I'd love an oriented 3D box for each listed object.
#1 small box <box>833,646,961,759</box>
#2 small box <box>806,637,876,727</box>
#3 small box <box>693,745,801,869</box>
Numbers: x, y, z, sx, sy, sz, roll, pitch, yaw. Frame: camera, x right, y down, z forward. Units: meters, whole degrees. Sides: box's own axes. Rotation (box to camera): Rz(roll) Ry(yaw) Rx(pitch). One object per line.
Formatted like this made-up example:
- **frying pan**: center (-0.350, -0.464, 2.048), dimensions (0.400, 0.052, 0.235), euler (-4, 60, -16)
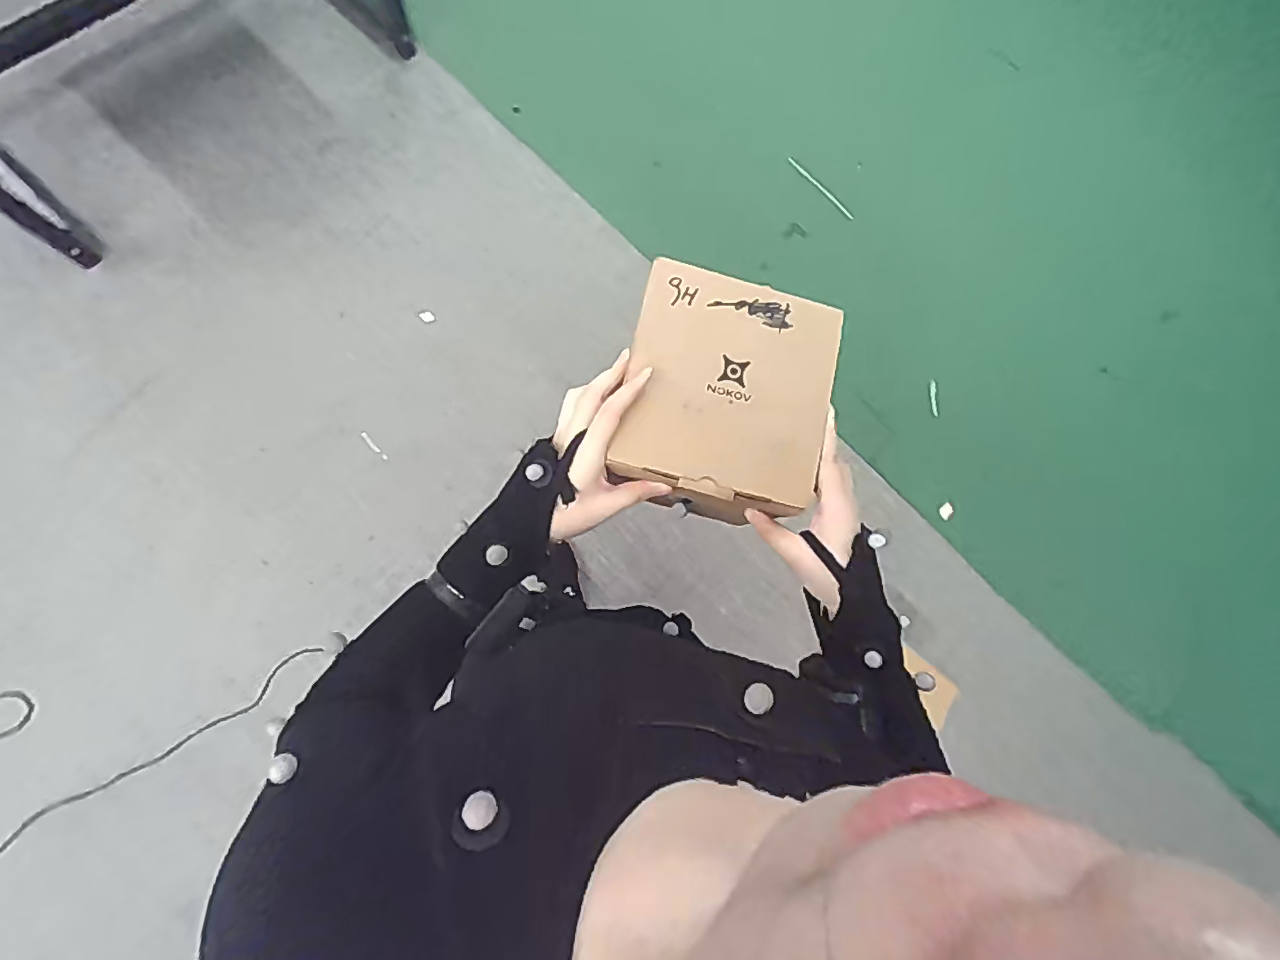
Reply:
- **small box**: center (0.602, 0.514, 1.283), dimensions (0.179, 0.176, 0.168), euler (43, 74, 0)
- **small box**: center (0.583, 0.538, 1.441), dimensions (0.179, 0.176, 0.168), euler (40, 76, 2)
- **small box**: center (0.257, 0.797, 1.340), dimensions (0.168, 0.176, 0.179), euler (-35, 84, -13)
